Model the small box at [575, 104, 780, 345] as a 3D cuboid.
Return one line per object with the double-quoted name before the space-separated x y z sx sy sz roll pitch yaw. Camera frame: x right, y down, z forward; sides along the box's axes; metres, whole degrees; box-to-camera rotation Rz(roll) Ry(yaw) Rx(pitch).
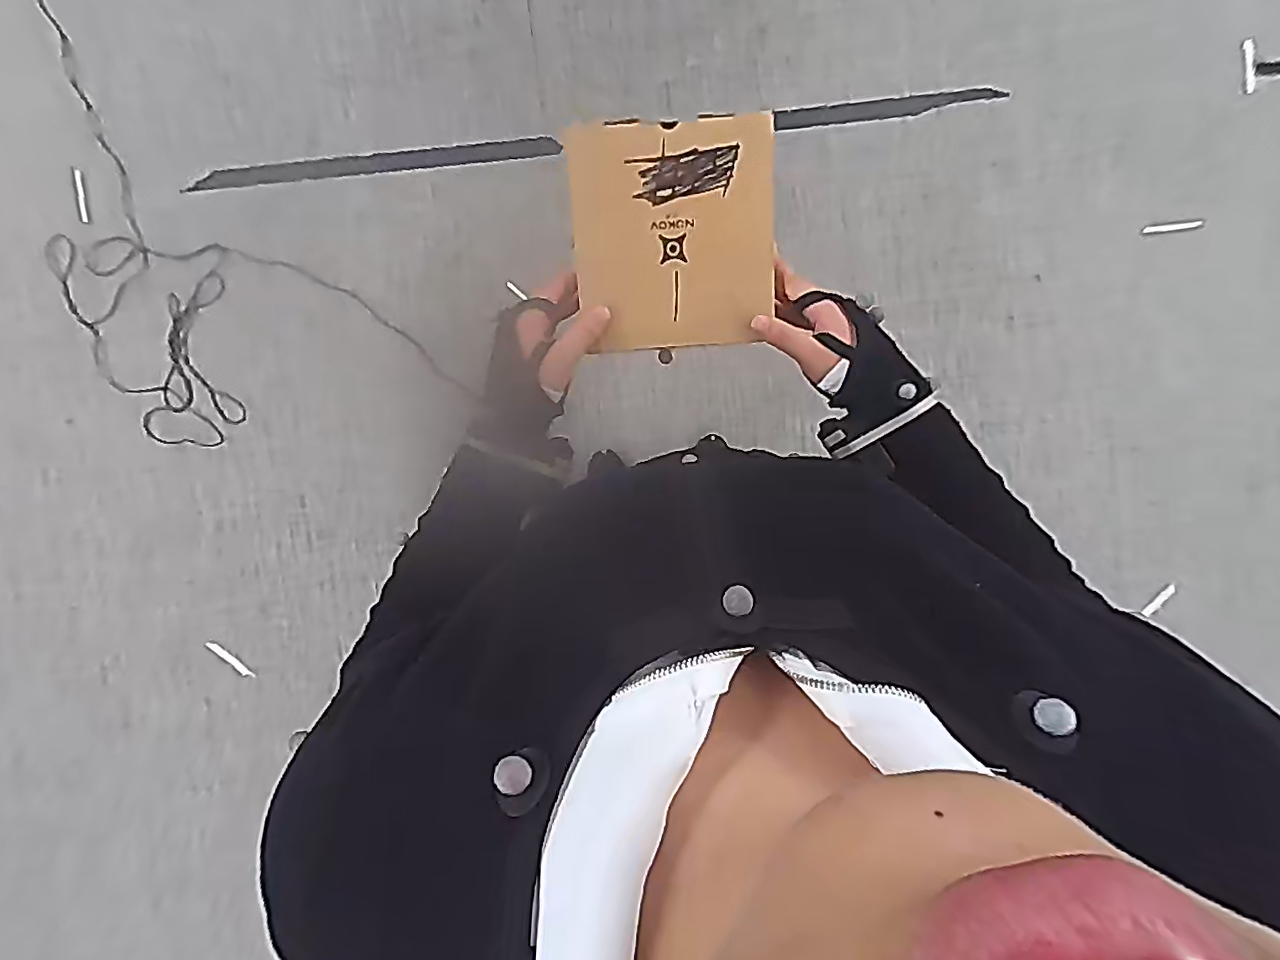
"small box" 0.031 -0.225 0.521 0.168 0.176 0.179 -4 104 0
